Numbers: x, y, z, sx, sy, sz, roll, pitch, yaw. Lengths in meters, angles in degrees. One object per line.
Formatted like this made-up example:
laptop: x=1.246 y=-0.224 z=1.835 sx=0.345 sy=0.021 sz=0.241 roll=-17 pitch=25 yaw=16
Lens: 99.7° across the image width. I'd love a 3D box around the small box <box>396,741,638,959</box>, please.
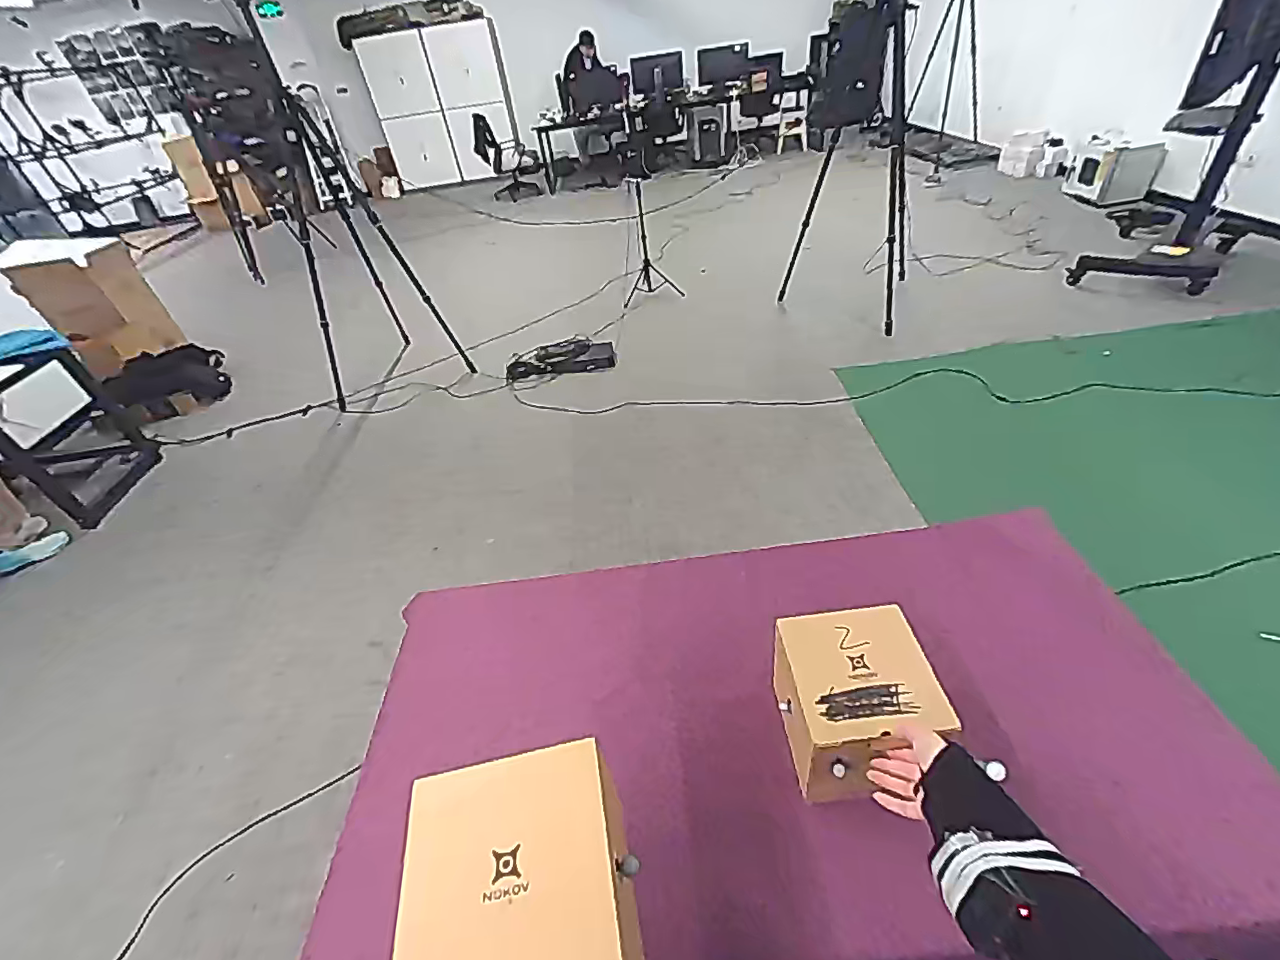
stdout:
small box: x=-0.099 y=0.373 z=0.487 sx=0.168 sy=0.176 sz=0.179 roll=-12 pitch=42 yaw=-4
